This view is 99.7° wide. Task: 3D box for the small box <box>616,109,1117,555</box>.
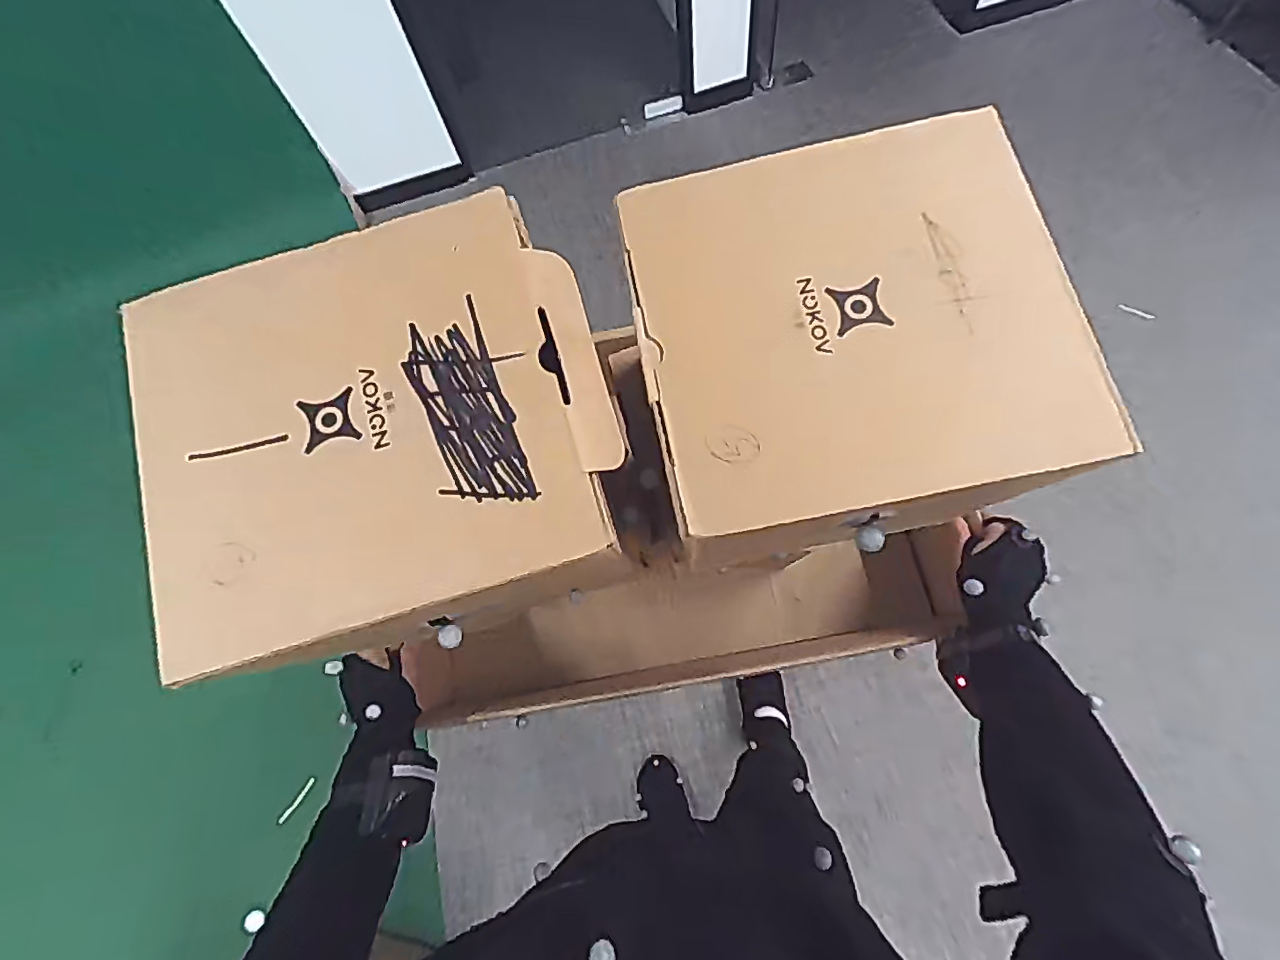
[{"bbox_3d":[0.094,-0.058,0.309,0.179,0.176,0.168,-11,75,3],"label":"small box"}]
